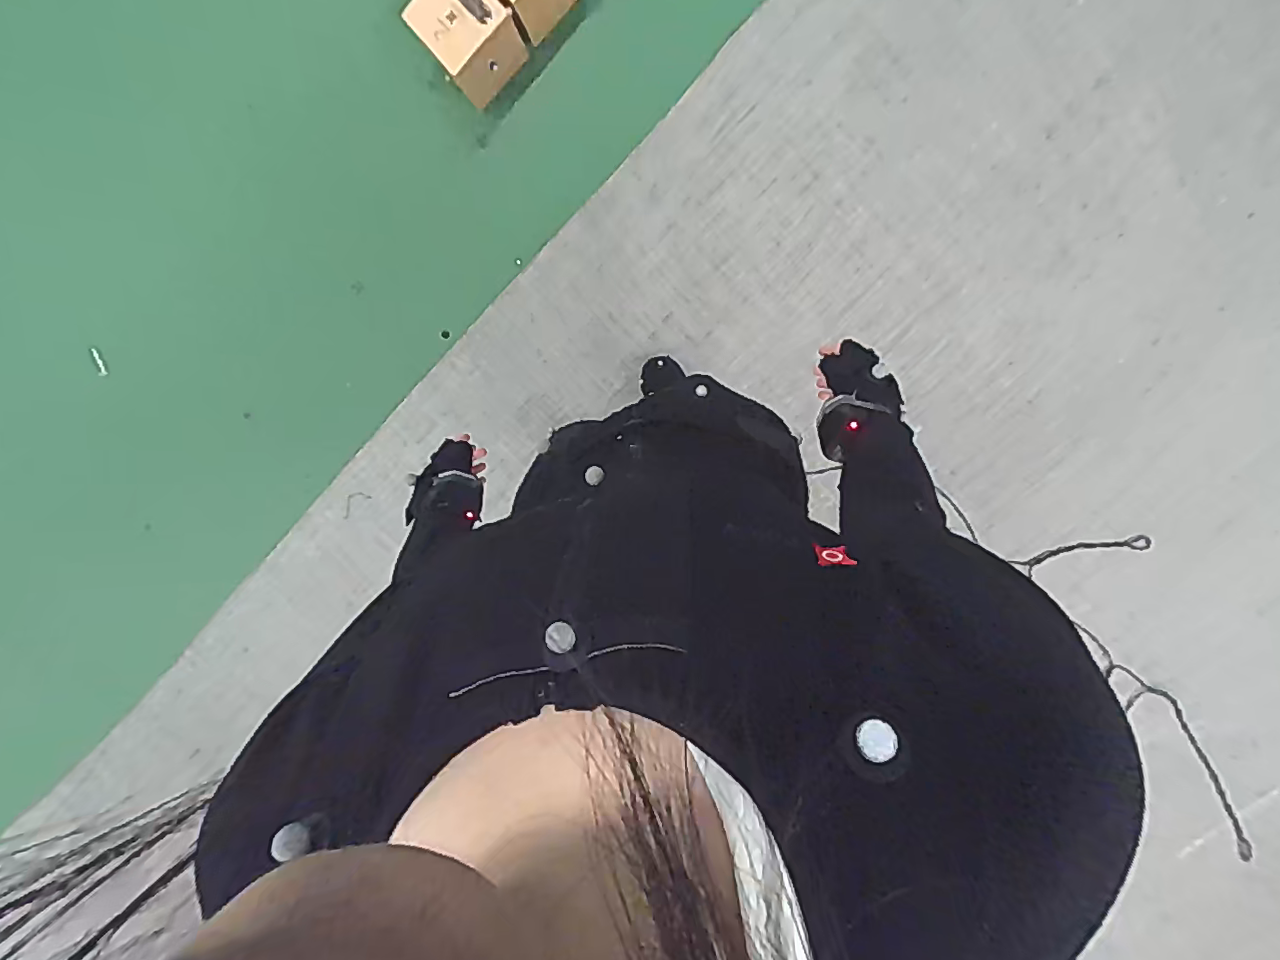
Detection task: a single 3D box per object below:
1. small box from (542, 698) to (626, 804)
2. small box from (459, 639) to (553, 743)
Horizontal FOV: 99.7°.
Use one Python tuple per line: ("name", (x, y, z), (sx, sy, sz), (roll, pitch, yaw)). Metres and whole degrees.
("small box", (-0.153, 0.766, 1.549), (0.168, 0.176, 0.179), (40, 101, -5))
("small box", (-0.369, 0.590, 1.529), (0.179, 0.176, 0.168), (-42, 97, 9))
